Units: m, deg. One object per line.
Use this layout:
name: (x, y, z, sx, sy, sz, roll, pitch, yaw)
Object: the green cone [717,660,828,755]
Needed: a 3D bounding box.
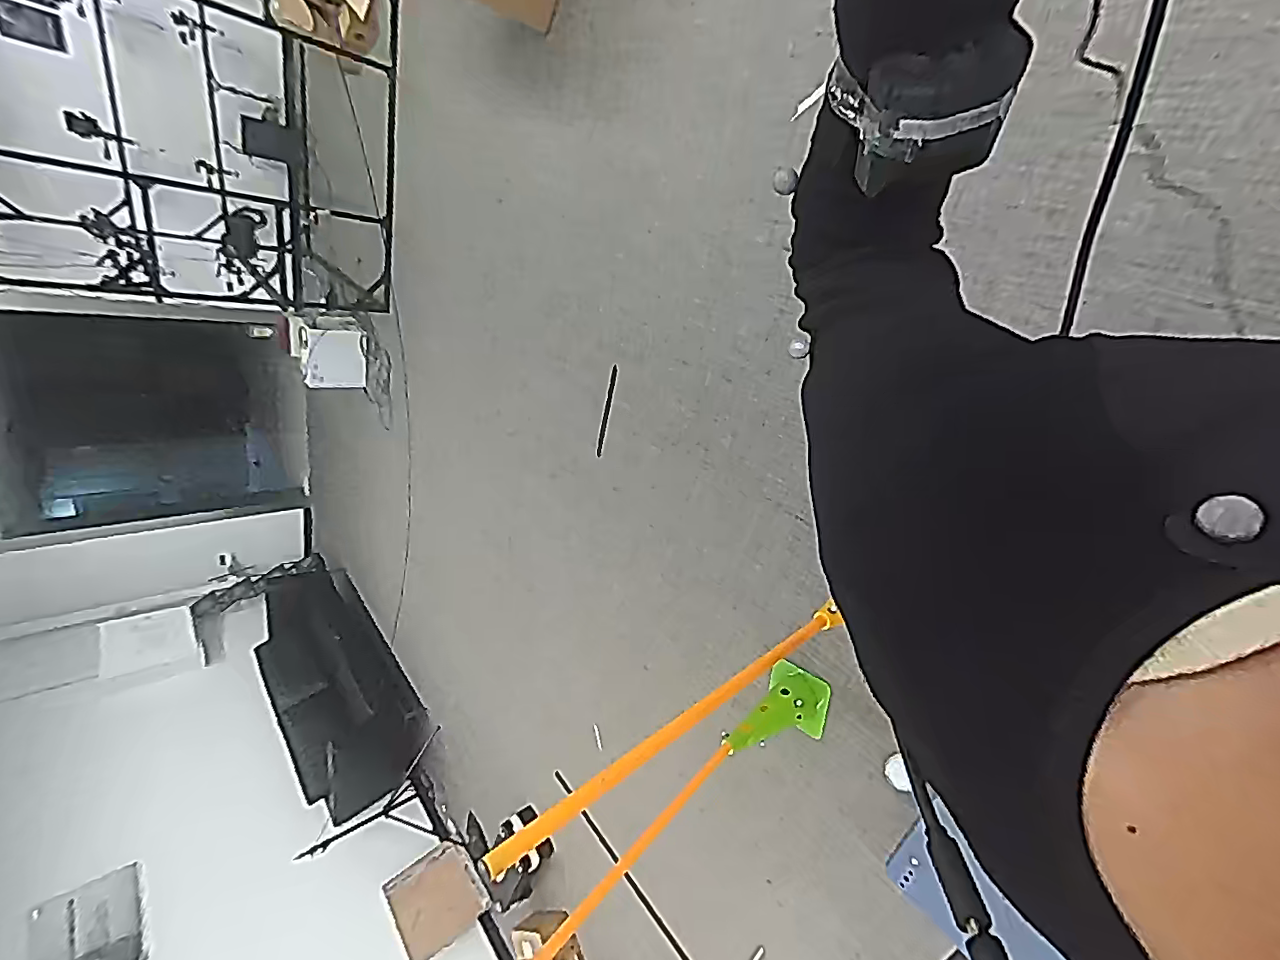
green cone: (0.355, 0.703, 1.562, 0.200, 0.368, 0.202, 20, 110, 44)
